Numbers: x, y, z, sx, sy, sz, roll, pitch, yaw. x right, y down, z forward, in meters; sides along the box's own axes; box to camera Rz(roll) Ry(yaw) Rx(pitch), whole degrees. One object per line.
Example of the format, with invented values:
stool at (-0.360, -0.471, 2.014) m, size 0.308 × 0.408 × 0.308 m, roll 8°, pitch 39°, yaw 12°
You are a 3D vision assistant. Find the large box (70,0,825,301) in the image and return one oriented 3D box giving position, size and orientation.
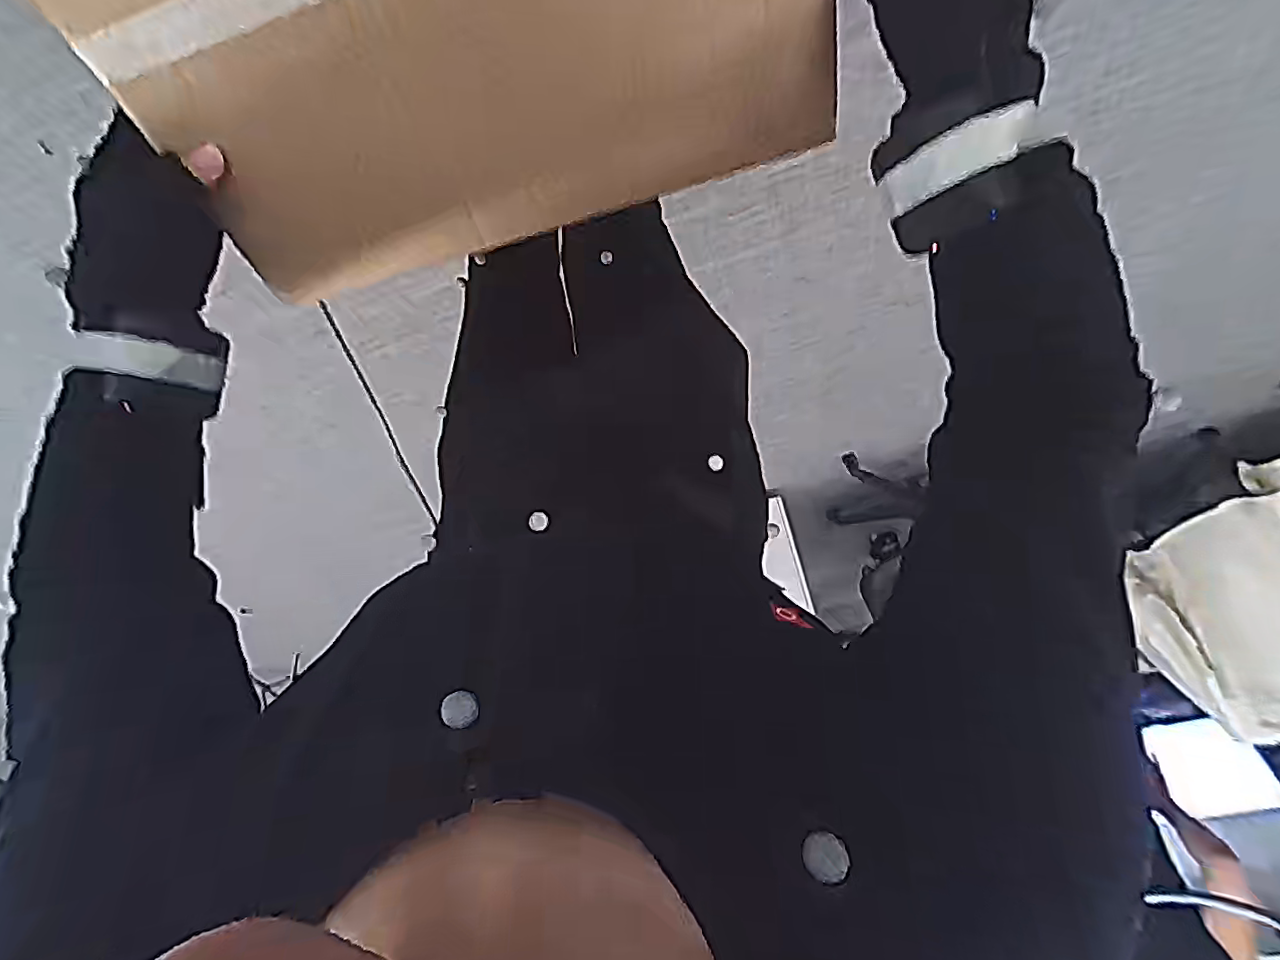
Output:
large box at (-0.114, -0.390, 0.385) m, size 0.408 × 0.320 × 0.320 m, roll -12°, pitch 135°, yaw 10°
